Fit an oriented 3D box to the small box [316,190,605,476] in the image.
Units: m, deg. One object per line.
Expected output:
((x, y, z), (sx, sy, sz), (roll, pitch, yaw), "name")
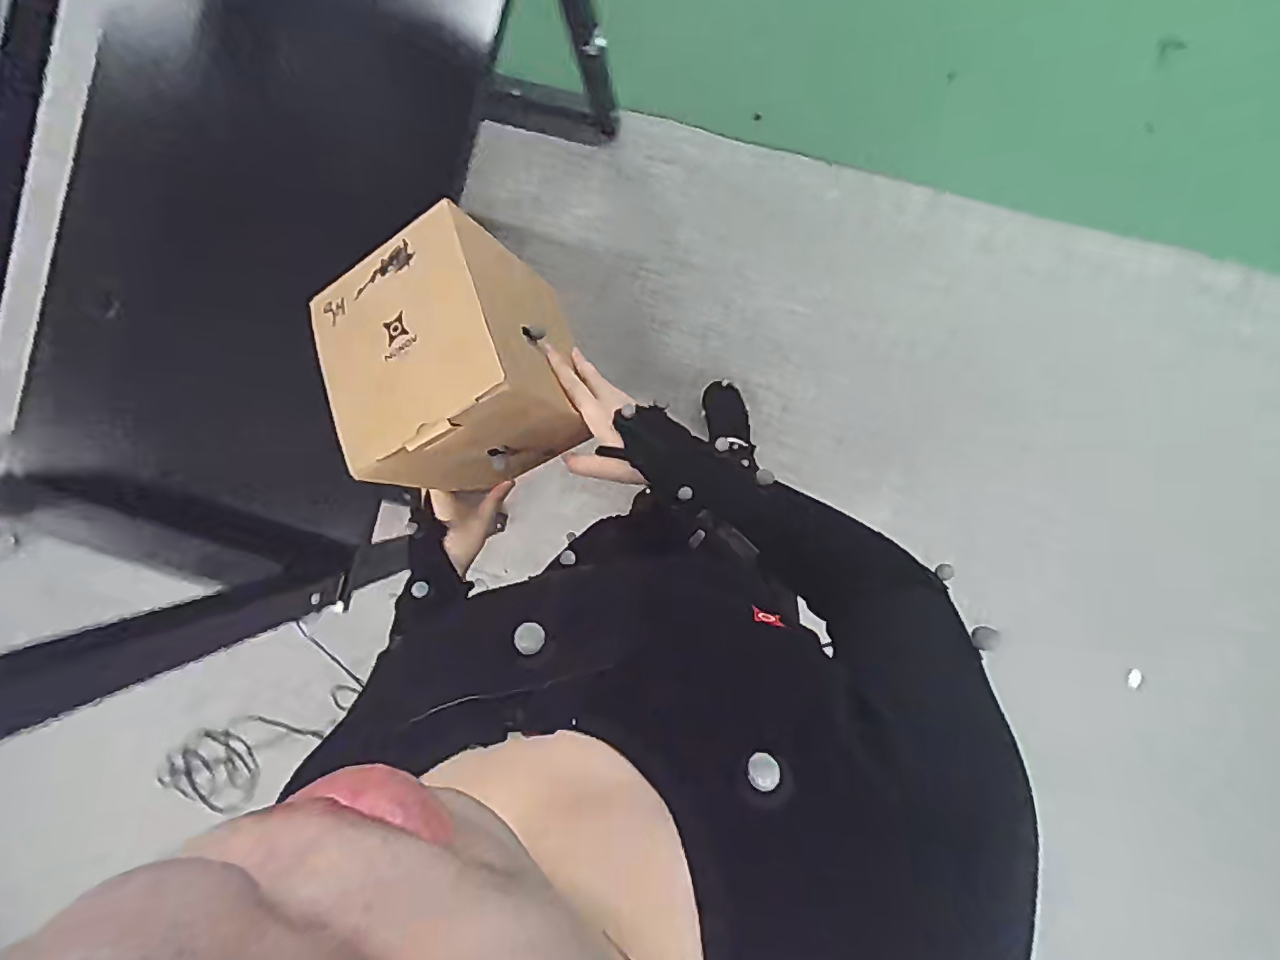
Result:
((-0.154, -0.111, 0.500), (0.168, 0.176, 0.179), (-24, 76, 18), "small box")
